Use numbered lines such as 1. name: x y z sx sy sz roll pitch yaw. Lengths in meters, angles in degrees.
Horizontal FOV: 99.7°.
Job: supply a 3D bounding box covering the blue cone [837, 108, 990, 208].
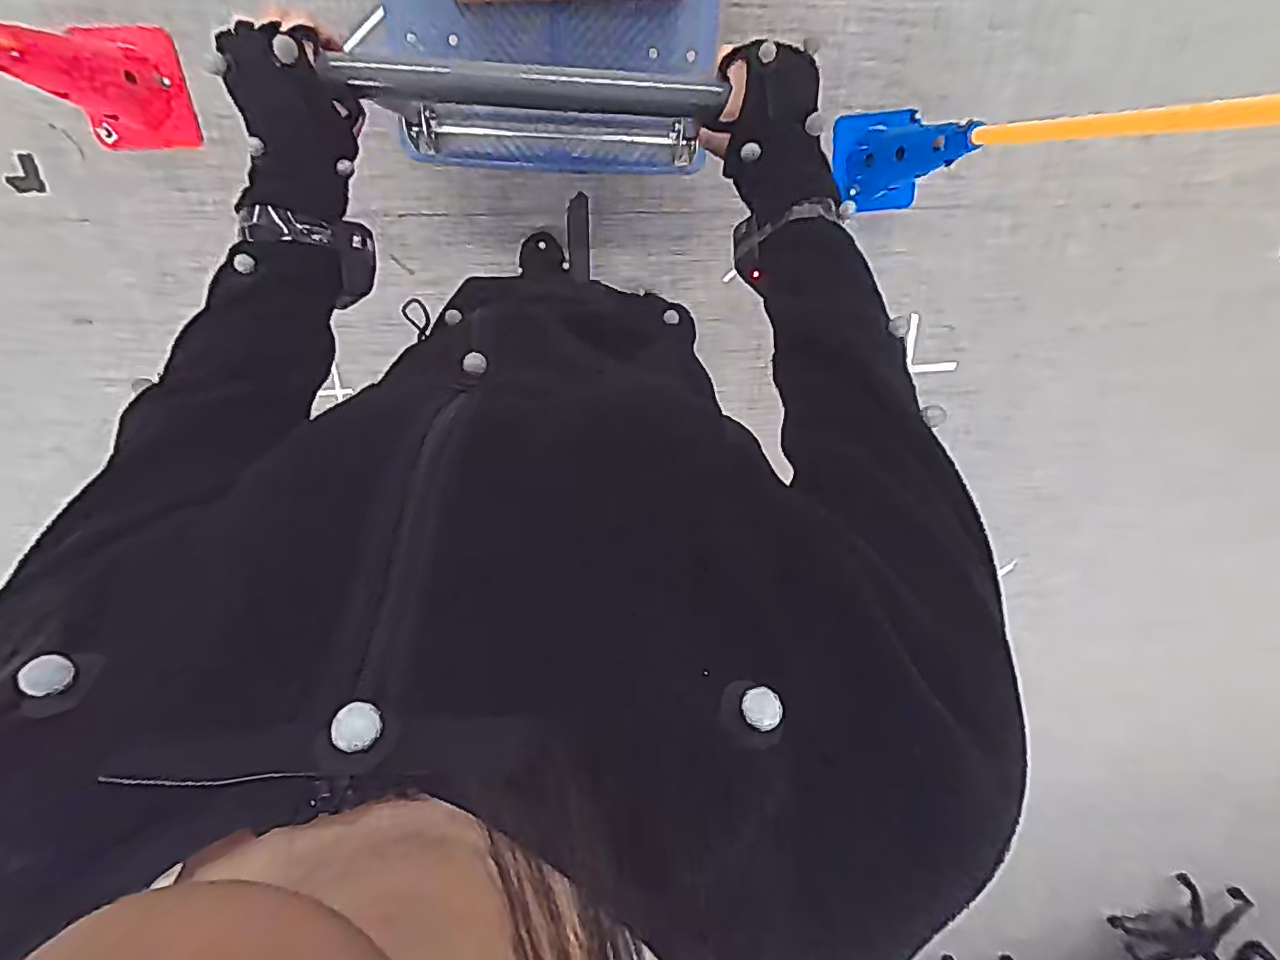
1. blue cone: 0.560 -0.670 1.088 0.193 0.380 0.192 -6 113 -3
